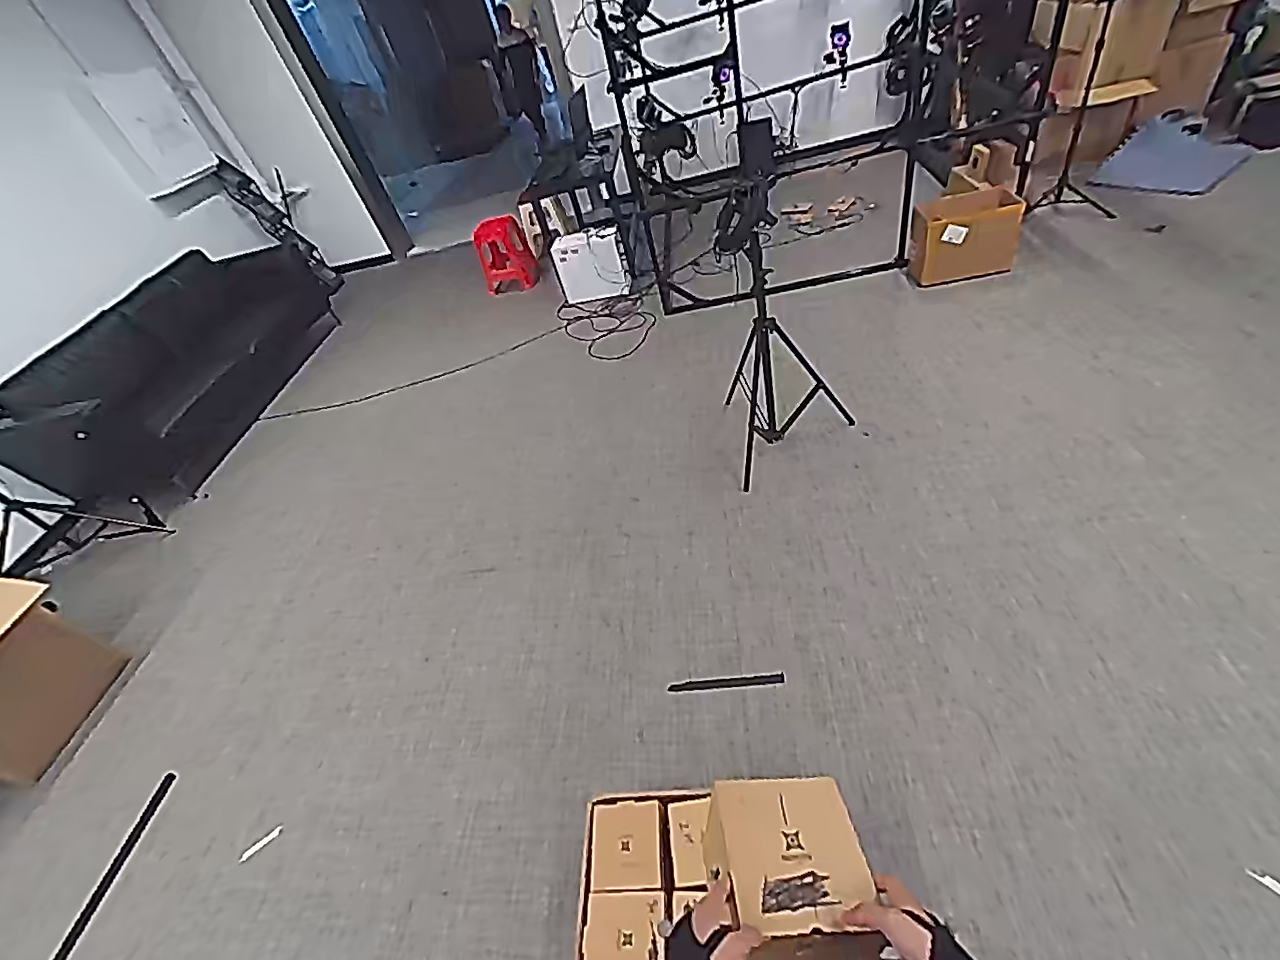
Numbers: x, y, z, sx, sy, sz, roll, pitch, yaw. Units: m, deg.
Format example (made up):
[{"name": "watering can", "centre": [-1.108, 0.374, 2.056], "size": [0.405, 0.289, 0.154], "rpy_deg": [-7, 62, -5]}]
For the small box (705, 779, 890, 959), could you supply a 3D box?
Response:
[{"name": "small box", "centre": [0.179, 0.508, 0.675], "size": [0.168, 0.176, 0.179], "rpy_deg": [0, 28, -4]}]
